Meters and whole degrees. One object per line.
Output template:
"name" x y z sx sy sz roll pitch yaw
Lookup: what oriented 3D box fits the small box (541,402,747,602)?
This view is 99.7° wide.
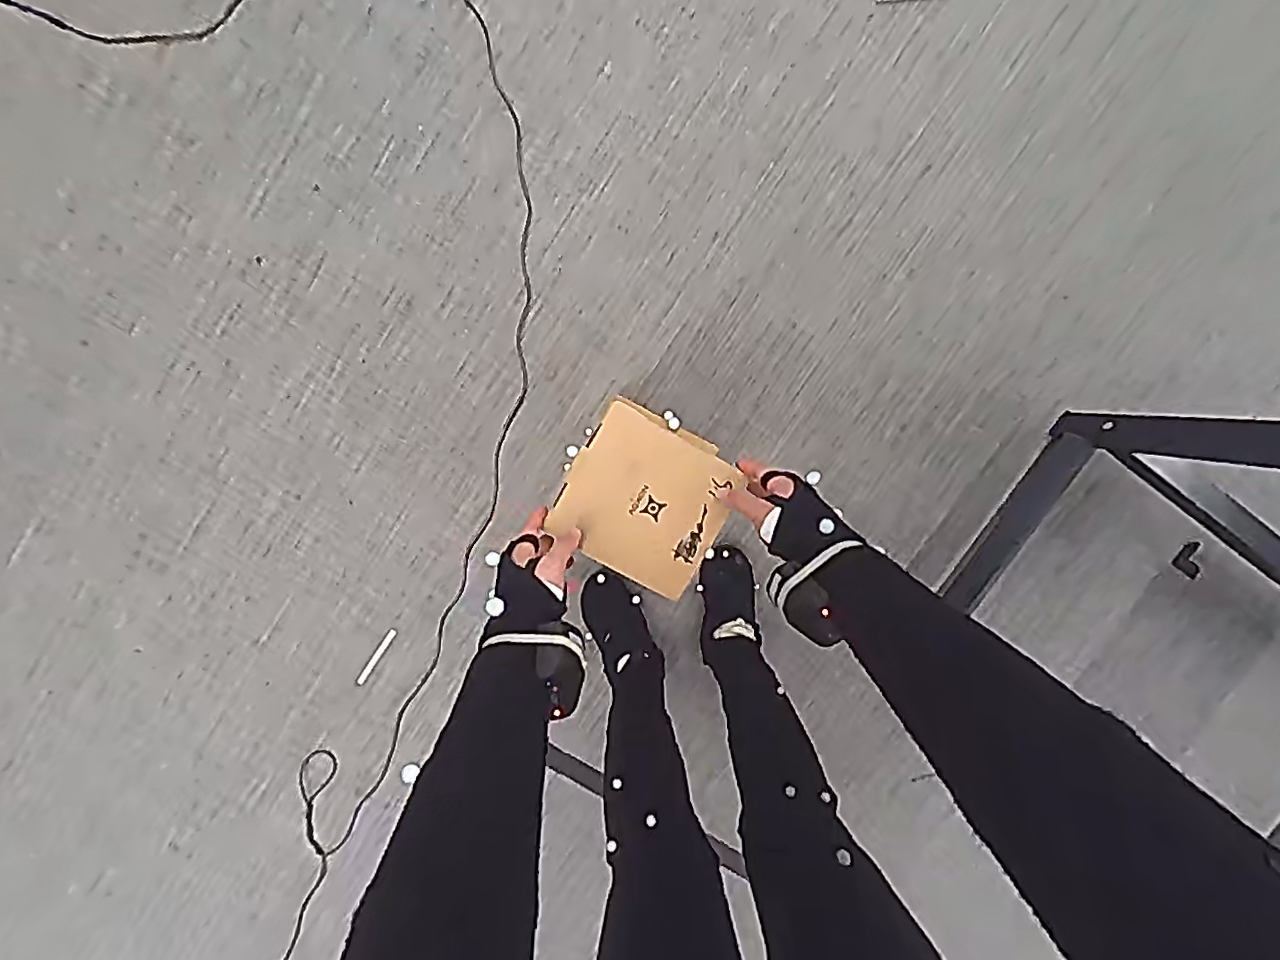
"small box" 0.000 0.018 0.672 0.179 0.176 0.168 30 95 -7

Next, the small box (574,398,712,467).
"small box" -0.012 -0.011 0.834 0.168 0.176 0.179 26 94 -8
